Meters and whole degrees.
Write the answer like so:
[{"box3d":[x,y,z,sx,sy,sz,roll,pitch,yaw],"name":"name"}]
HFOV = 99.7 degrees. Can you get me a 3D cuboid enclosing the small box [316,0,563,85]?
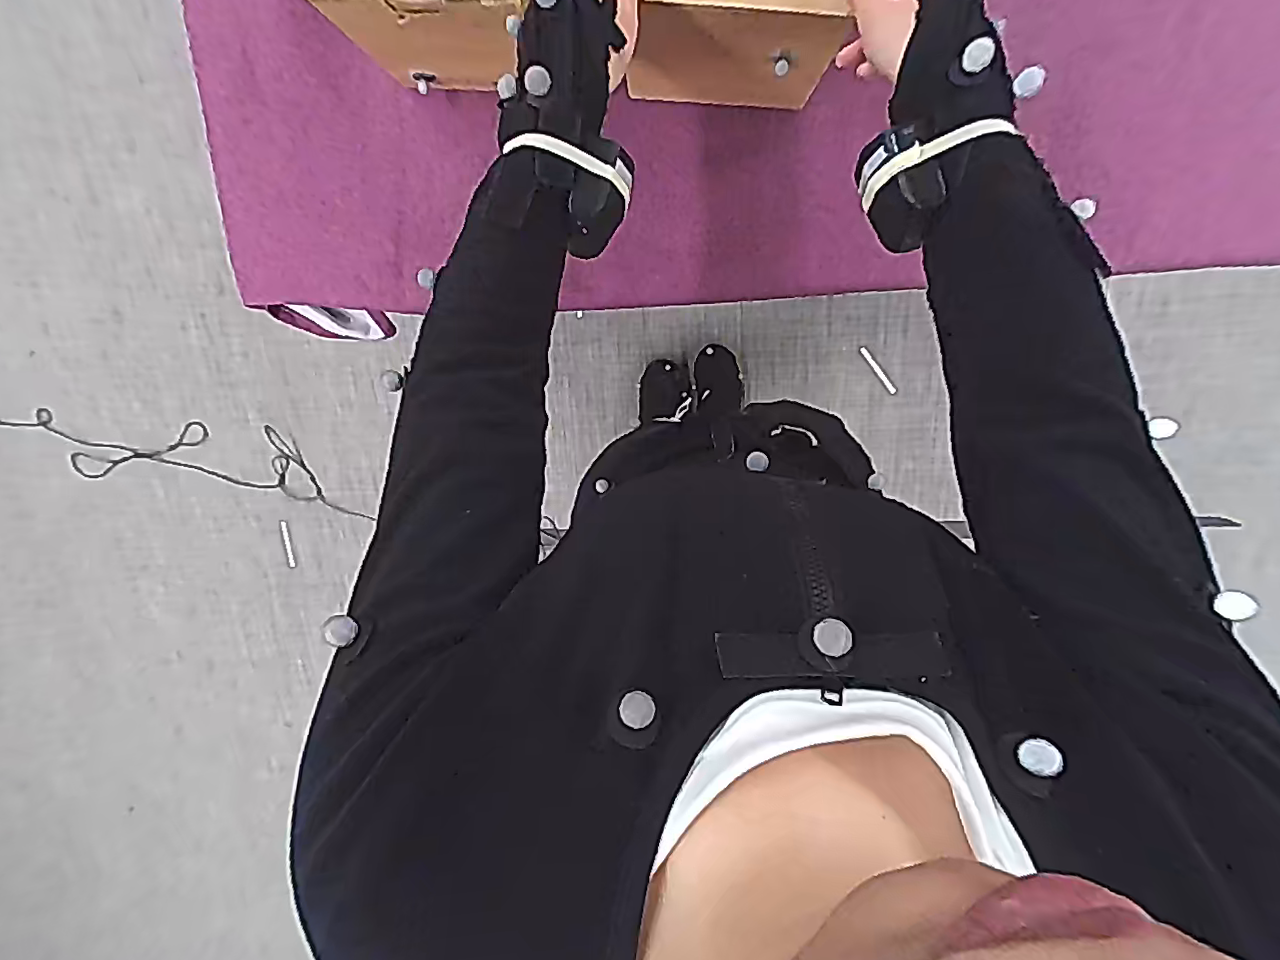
[{"box3d":[-0.159,-0.460,0.448,0.168,0.176,0.179,3,106,1],"name":"small box"}]
